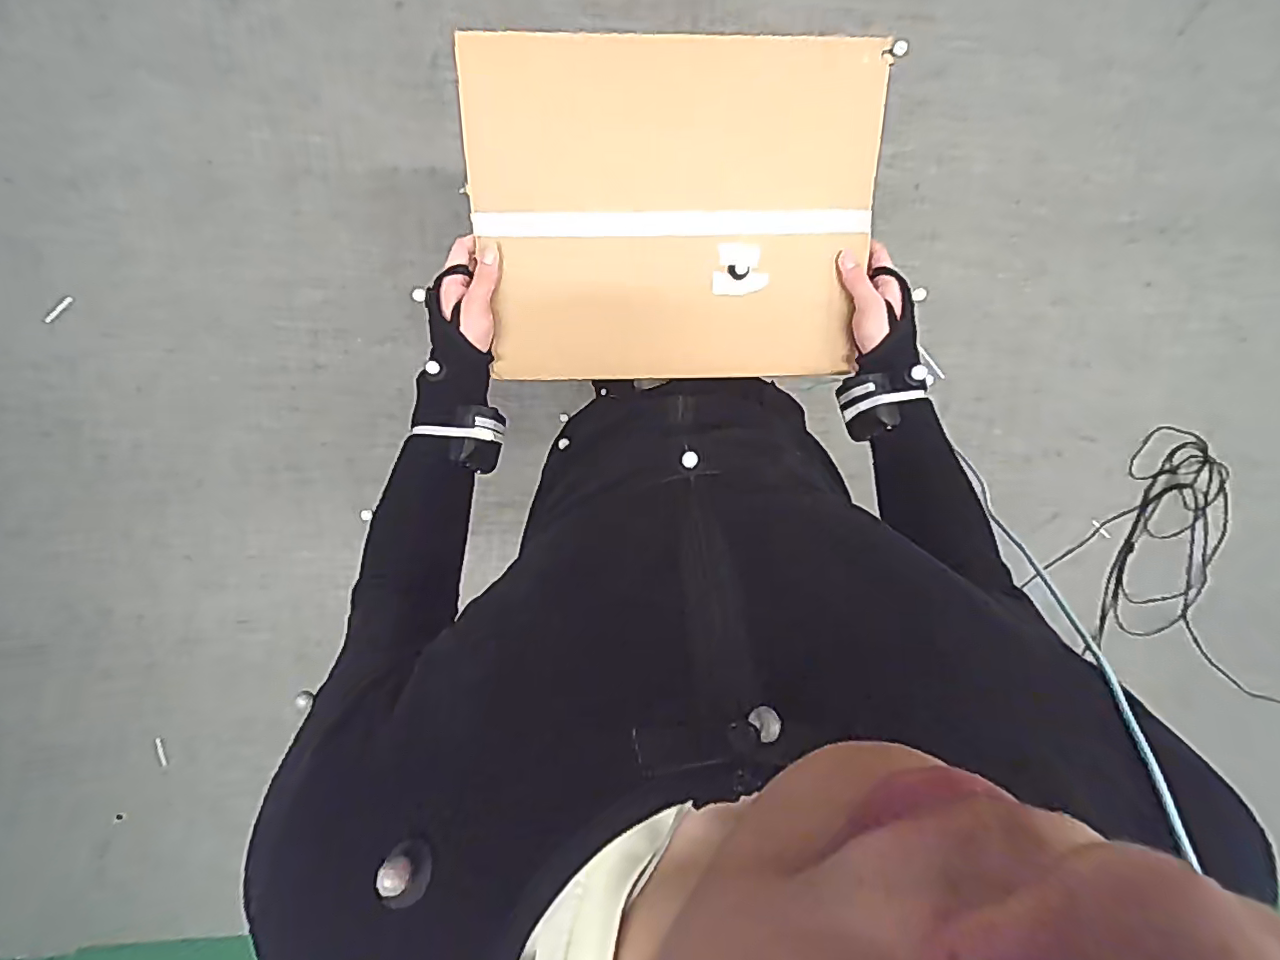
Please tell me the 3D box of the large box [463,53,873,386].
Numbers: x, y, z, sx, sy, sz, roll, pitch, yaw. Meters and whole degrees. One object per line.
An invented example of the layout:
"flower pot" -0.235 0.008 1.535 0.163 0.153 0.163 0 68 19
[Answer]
"large box" 0.024 -0.308 0.704 0.408 0.320 0.320 -2 110 -3
